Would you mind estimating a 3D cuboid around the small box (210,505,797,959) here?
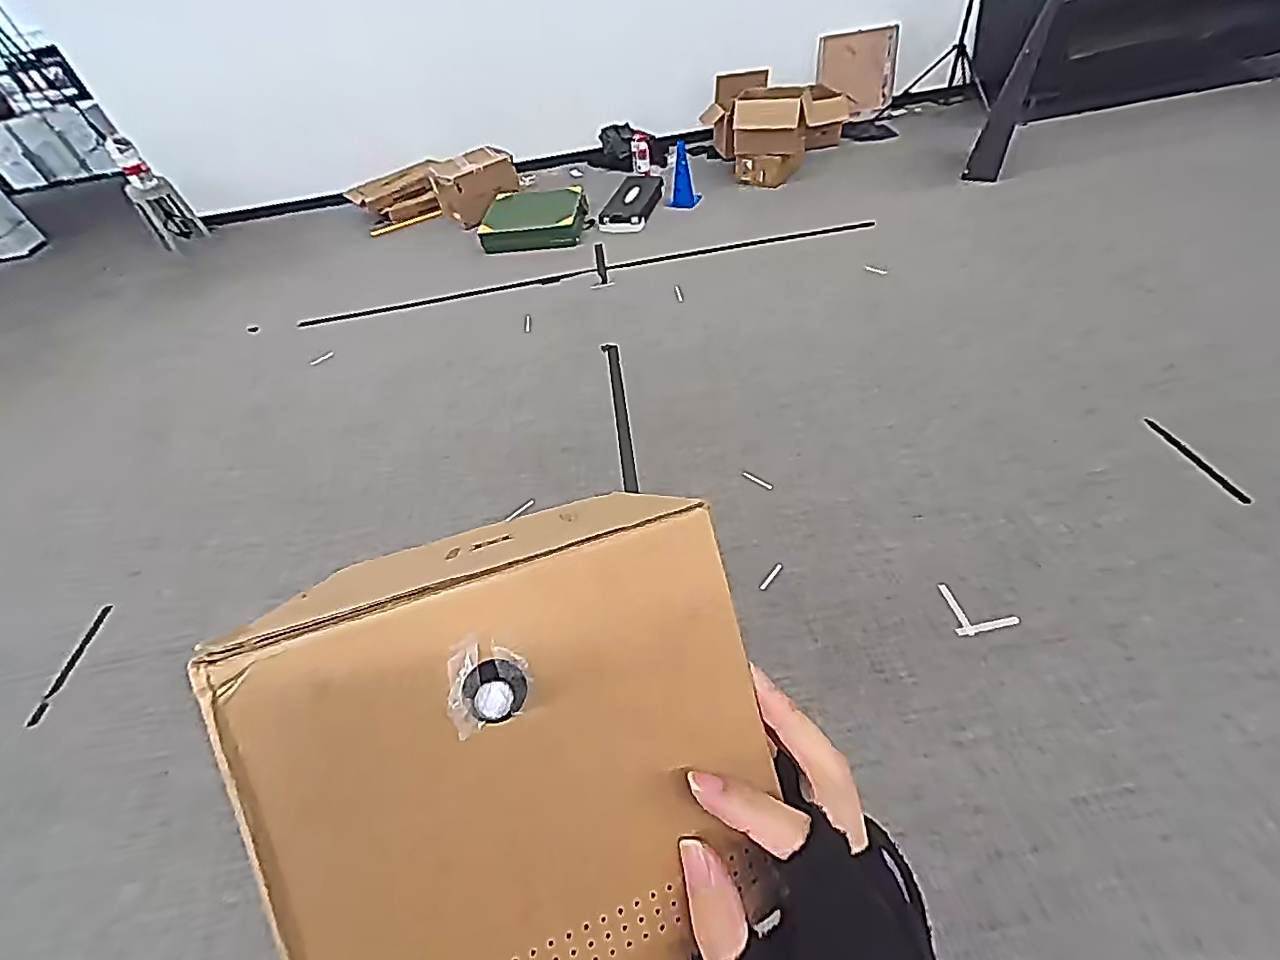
[{"bbox_3d":[-0.051,0.118,0.267,0.179,0.176,0.168,-15,4,-13],"label":"small box"}]
